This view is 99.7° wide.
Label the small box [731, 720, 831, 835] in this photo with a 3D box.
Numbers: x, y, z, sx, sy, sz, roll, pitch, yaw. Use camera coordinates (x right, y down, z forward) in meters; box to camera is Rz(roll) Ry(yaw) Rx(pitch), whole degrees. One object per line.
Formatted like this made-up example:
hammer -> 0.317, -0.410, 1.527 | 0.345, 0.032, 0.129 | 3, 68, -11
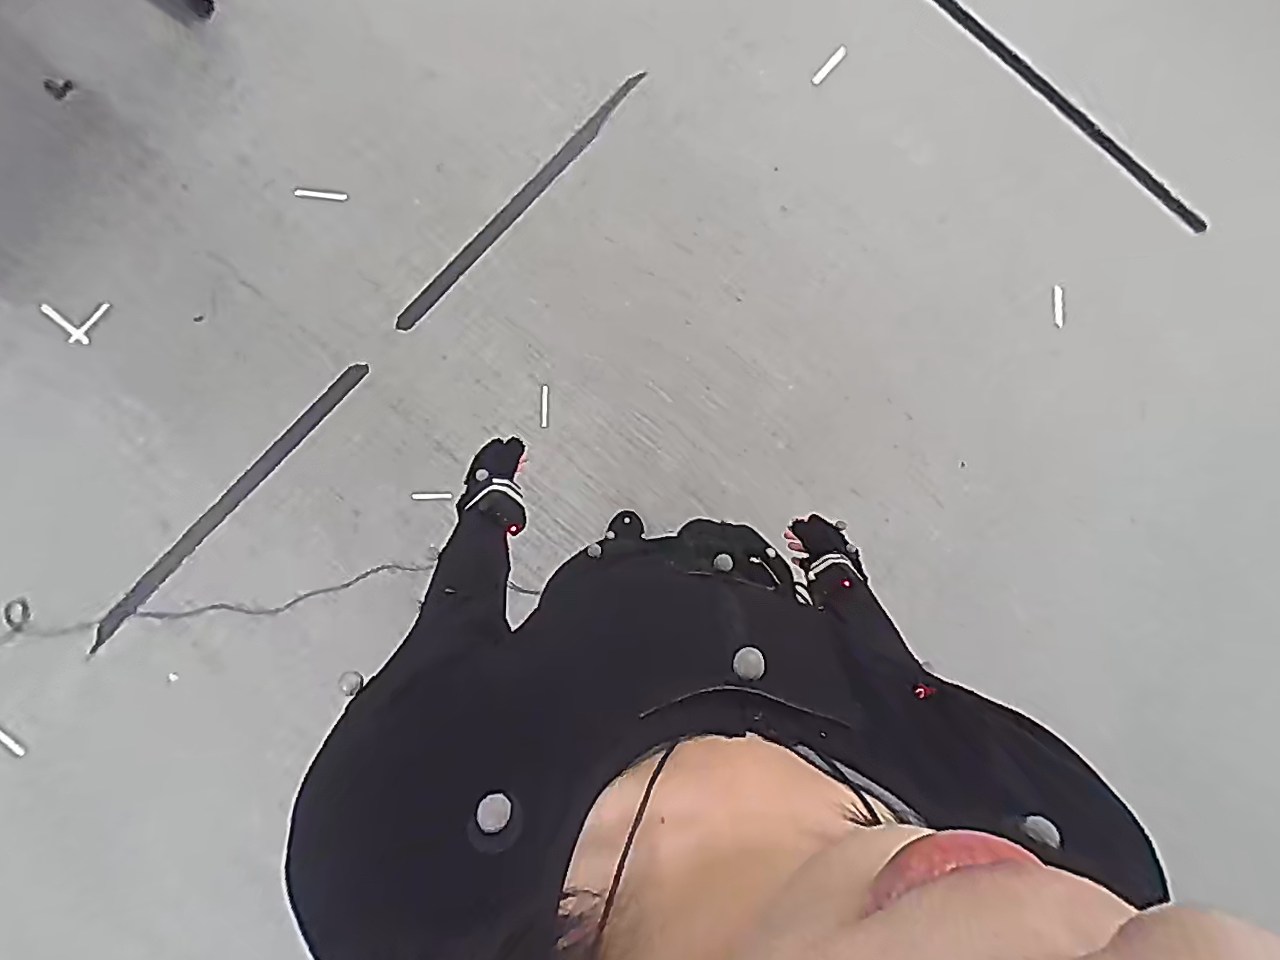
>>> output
small box -> 0.363, 0.776, 1.435 | 0.168, 0.176, 0.179 | 39, 85, 1
